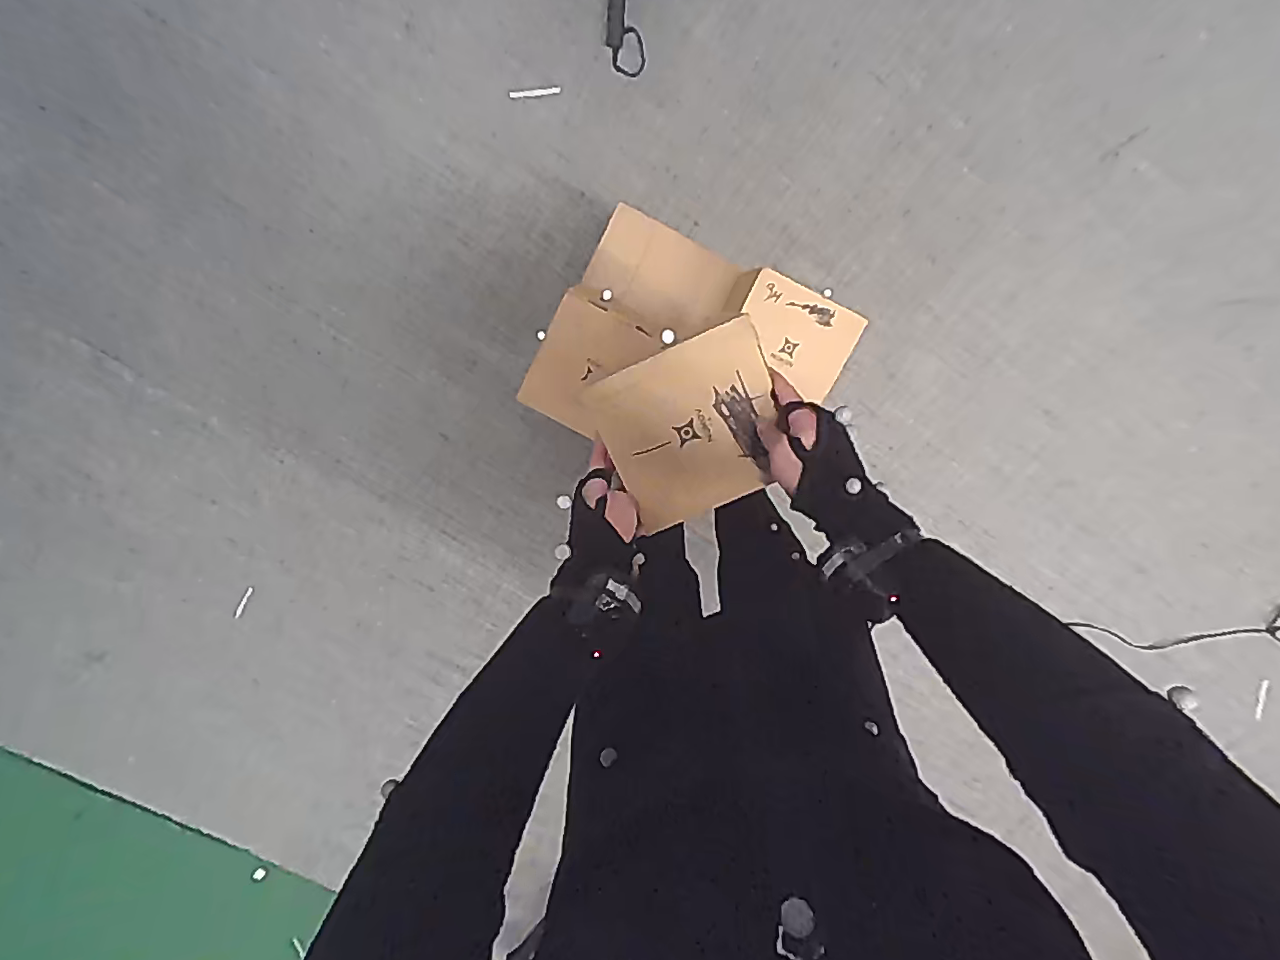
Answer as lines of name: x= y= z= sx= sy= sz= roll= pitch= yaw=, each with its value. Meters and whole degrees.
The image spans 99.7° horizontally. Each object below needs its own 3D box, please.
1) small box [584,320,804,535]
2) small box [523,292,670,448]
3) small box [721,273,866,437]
small box: x=0.054 y=-0.069 z=0.604 sx=0.179 sy=0.176 sz=0.168 roll=-23 pitch=105 yaw=7
small box: x=-0.057 y=-0.174 z=0.836 sx=0.168 sy=0.176 sz=0.179 roll=28 pitch=112 yaw=-7
small box: x=0.201 y=-0.194 z=0.821 sx=0.168 sy=0.176 sz=0.179 roll=24 pitch=108 yaw=-7
